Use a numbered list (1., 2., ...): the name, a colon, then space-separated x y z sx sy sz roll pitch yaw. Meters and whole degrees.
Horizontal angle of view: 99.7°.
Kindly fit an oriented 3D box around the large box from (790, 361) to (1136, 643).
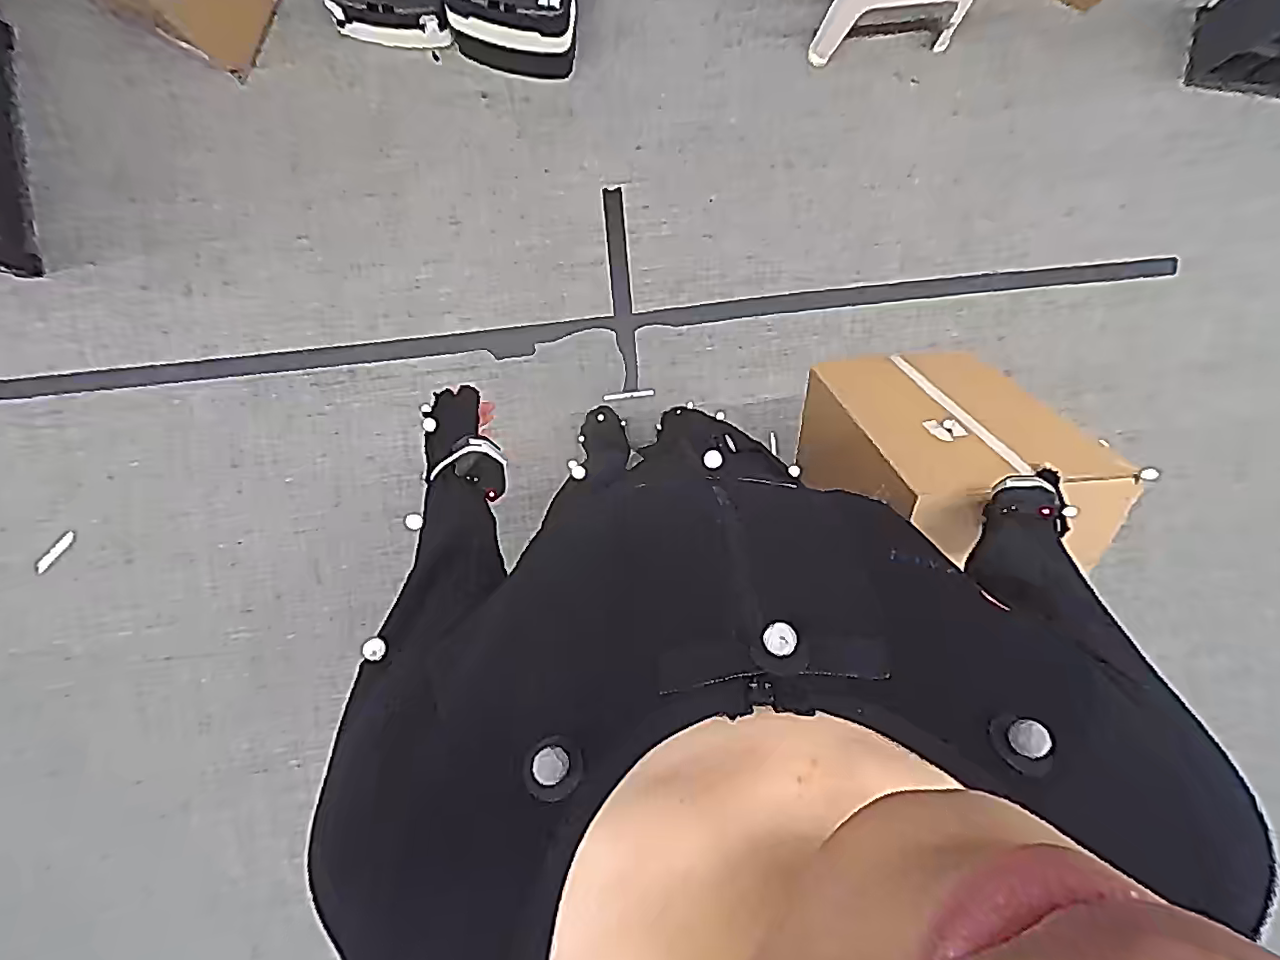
1. large box: 0.495 0.021 0.958 0.320 0.408 0.320 -5 127 -3
